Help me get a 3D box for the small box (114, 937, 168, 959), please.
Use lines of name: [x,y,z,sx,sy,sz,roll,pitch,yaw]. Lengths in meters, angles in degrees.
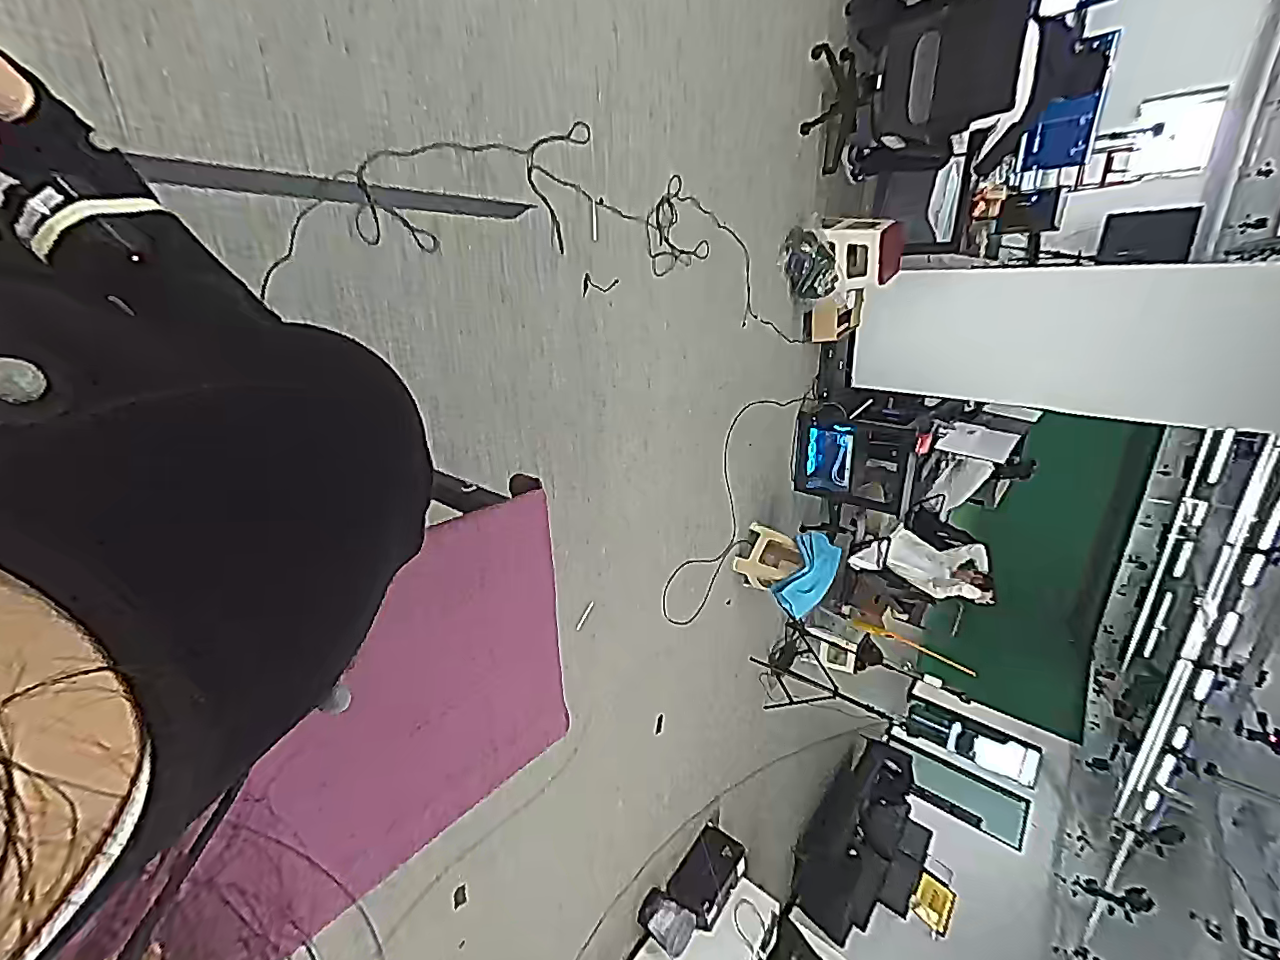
small box: [-0.631,0.702,0.619,0.179,0.176,0.168,-19,116,-47]
